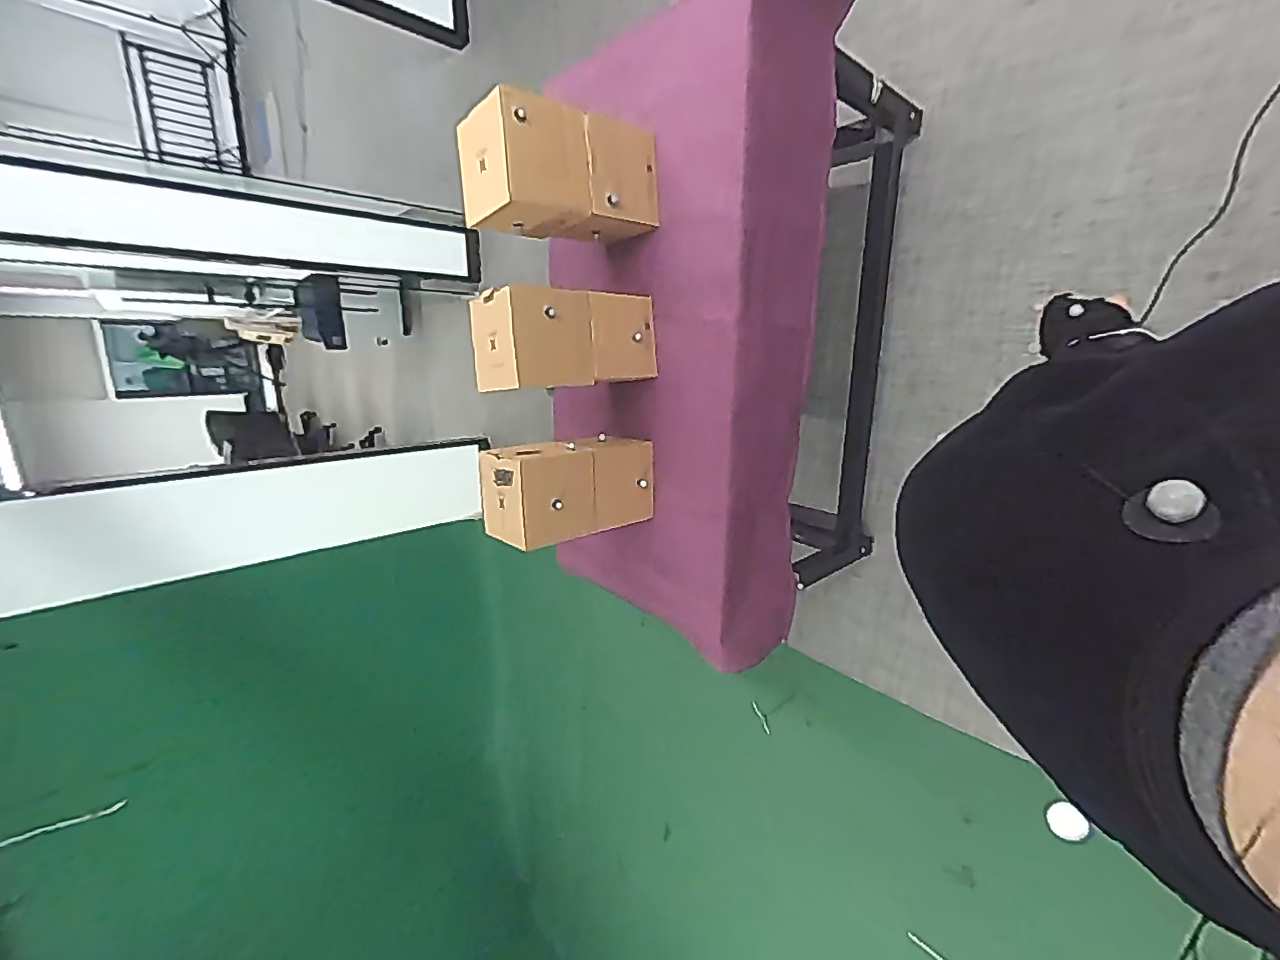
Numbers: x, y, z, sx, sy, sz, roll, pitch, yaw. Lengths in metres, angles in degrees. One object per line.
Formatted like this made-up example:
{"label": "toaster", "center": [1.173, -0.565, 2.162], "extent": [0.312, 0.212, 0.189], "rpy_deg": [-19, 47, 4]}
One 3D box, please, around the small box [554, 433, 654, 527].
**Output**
{"label": "small box", "center": [-0.080, -0.009, 1.221], "extent": [0.168, 0.176, 0.179], "rpy_deg": [13, 108, 47]}

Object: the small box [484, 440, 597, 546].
{"label": "small box", "center": [-0.202, 0.016, 1.114], "extent": [0.168, 0.176, 0.179], "rpy_deg": [13, 109, 46]}

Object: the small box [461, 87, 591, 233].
{"label": "small box", "center": [-0.203, -0.560, 0.980], "extent": [0.168, 0.176, 0.179], "rpy_deg": [6, 103, 48]}

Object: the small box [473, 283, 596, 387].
{"label": "small box", "center": [-0.202, -0.272, 1.048], "extent": [0.168, 0.176, 0.179], "rpy_deg": [8, 106, 48]}

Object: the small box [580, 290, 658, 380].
{"label": "small box", "center": [-0.083, -0.301, 1.157], "extent": [0.179, 0.176, 0.168], "rpy_deg": [5, 103, 48]}
